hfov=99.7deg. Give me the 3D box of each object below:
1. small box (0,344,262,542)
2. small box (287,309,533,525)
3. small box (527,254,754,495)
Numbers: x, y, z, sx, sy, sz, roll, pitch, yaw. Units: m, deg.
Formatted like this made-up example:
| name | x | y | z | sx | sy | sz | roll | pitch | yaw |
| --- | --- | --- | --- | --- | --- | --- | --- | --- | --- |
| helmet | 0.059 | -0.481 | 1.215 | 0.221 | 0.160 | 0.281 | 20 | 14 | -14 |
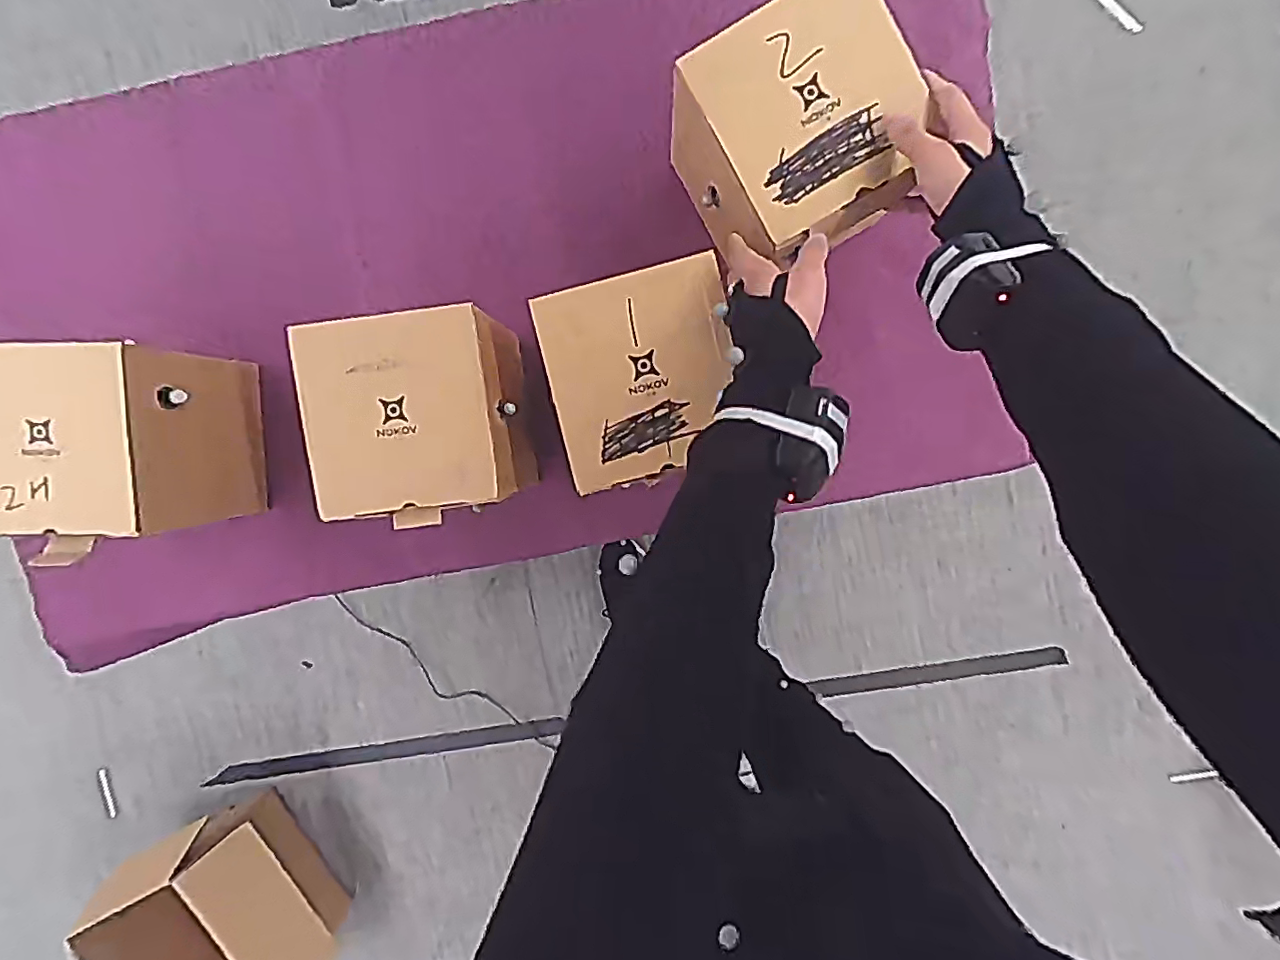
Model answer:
| name | x | y | z | sx | sy | sz | roll | pitch | yaw |
| --- | --- | --- | --- | --- | --- | --- | --- | --- | --- |
| small box | -0.530 | -0.038 | 0.558 | 0.168 | 0.176 | 0.179 | 0 | 96 | 2 |
| small box | -0.213 | -0.061 | 0.551 | 0.168 | 0.176 | 0.179 | -7 | 95 | 1 |
| small box | 0.005 | -0.095 | 0.541 | 0.168 | 0.176 | 0.179 | -14 | 93 | 3 |
